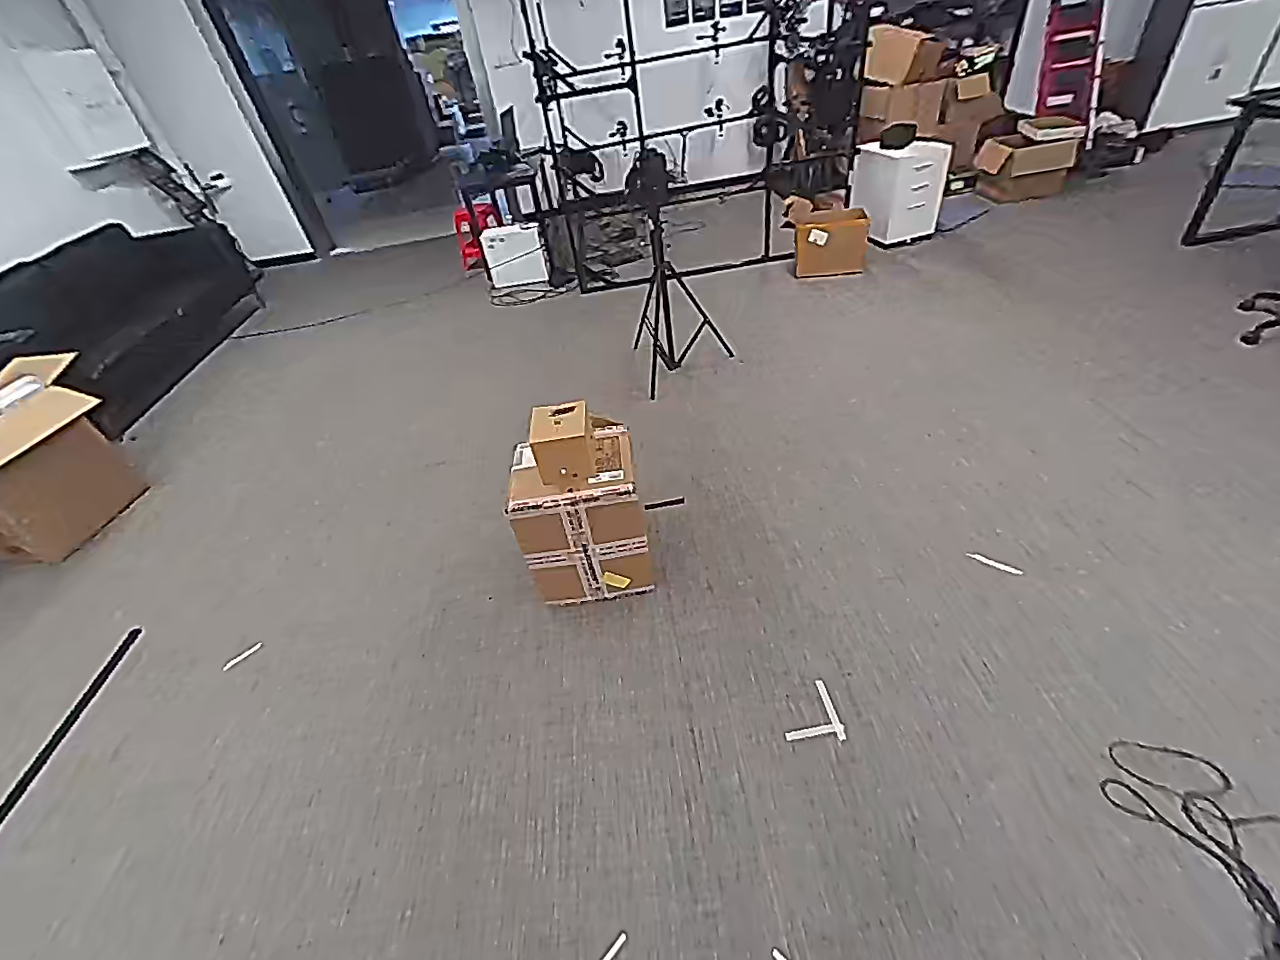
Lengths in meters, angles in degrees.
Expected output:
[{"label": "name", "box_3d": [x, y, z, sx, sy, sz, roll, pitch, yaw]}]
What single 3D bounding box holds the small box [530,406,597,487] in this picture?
[{"label": "small box", "box_3d": [-0.229, -0.102, 1.656, 0.168, 0.176, 0.179, -8, 43, 3]}]
